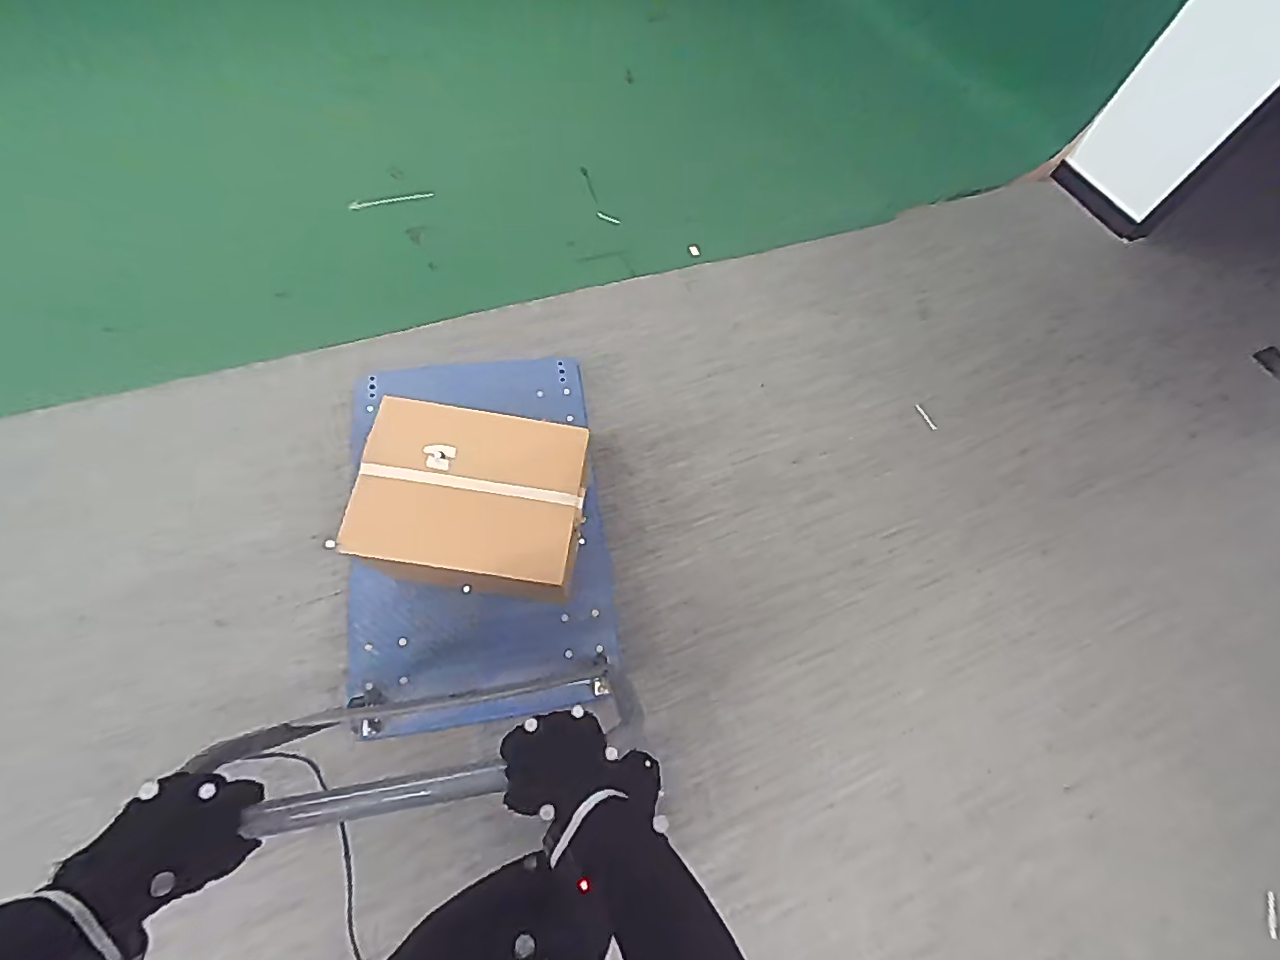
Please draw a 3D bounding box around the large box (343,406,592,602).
[{"bbox_3d":[-0.319,0.070,1.143,0.408,0.320,0.320,8,70,-2],"label":"large box"}]
